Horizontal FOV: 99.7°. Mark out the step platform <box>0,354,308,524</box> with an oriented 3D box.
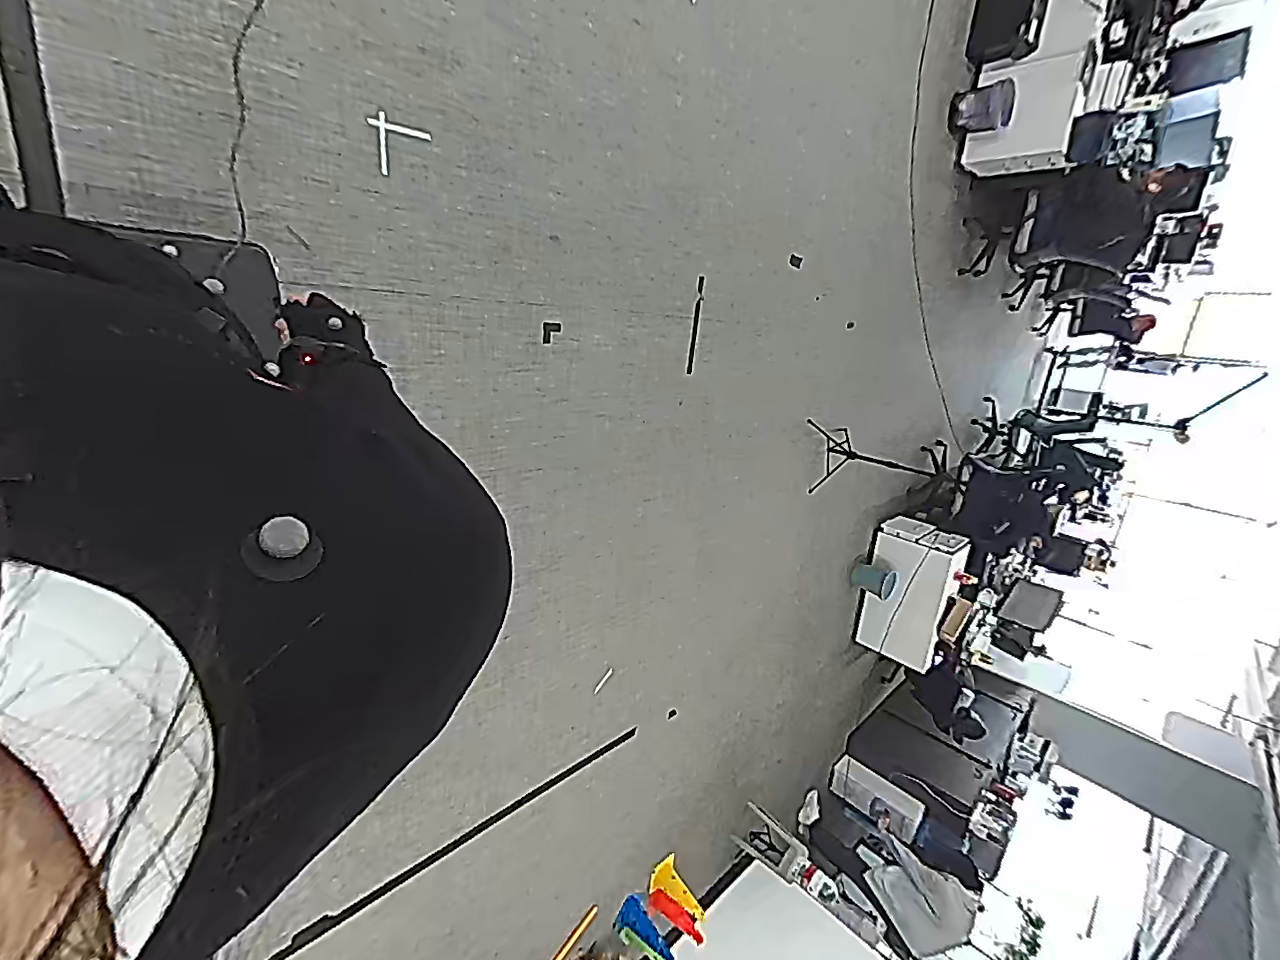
[{"bbox_3d":[-1.052,-0.095,1.058,0.684,0.204,0.286,-11,113,-42],"label":"step platform"}]
